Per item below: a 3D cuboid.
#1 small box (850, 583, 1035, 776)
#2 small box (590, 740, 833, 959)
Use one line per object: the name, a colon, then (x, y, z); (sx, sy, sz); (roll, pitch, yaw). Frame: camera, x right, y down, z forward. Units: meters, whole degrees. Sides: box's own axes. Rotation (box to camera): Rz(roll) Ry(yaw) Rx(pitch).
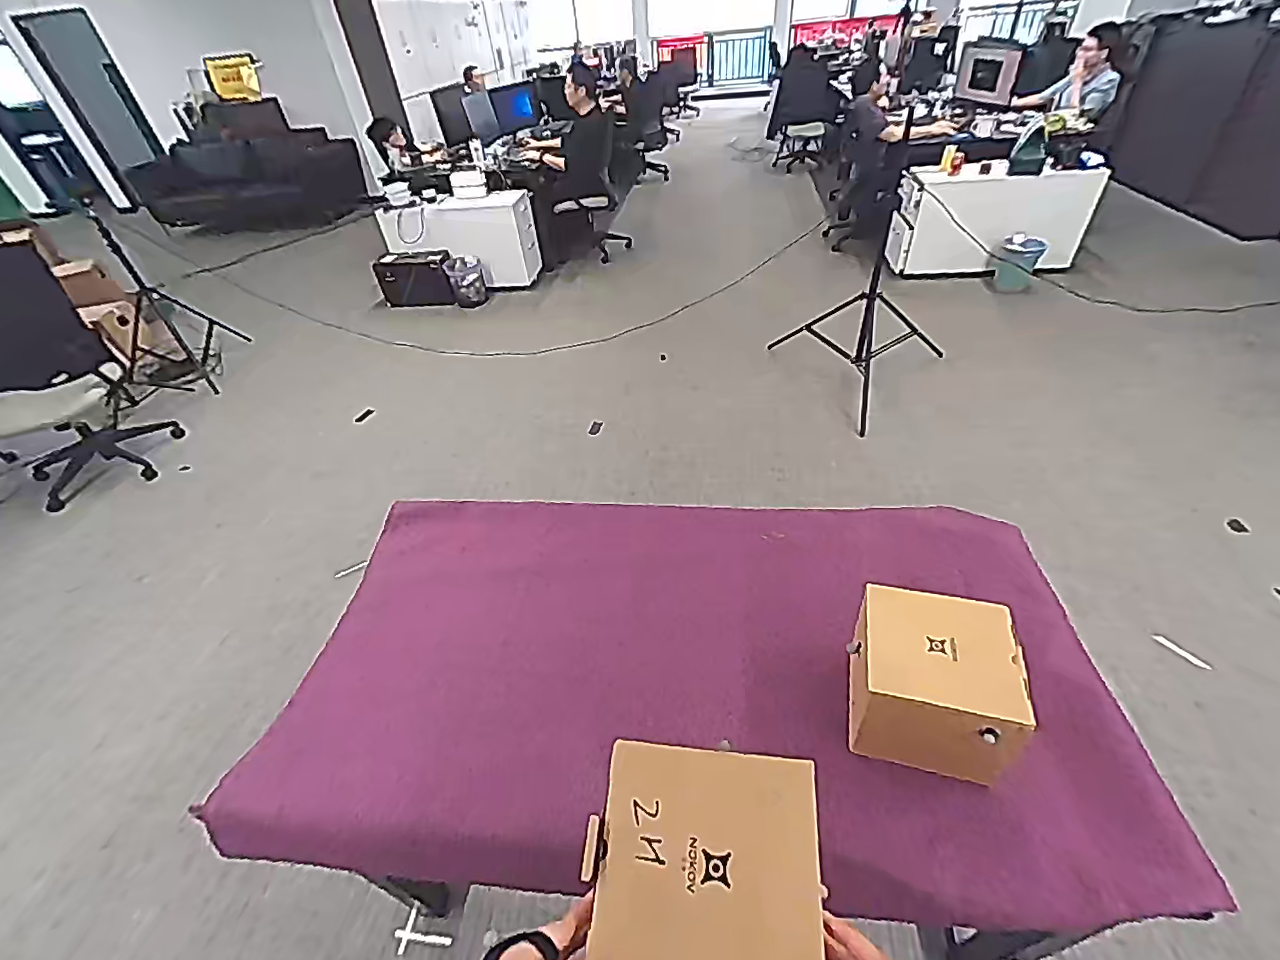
small box: (0.383, 0.265, 0.723); (0.179, 0.176, 0.168); (7, 42, 16)
small box: (0.067, 0.346, 0.485); (0.179, 0.176, 0.168); (0, 54, 11)
